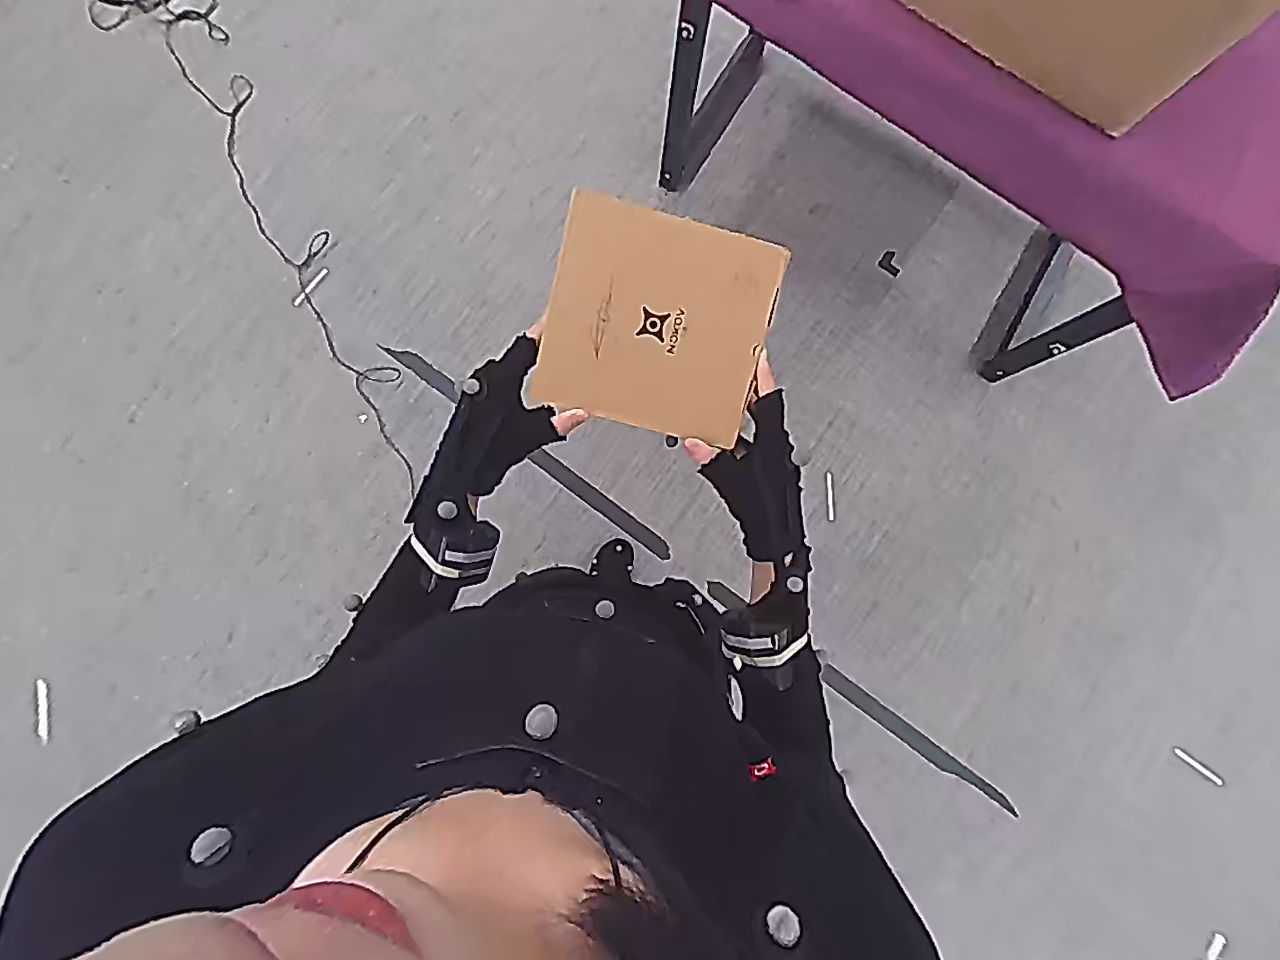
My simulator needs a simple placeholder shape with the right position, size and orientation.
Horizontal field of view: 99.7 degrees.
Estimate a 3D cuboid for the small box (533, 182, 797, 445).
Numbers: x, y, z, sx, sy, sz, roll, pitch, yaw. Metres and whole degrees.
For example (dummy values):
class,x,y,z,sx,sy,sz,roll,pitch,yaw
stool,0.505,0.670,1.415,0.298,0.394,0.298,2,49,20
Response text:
class,x,y,z,sx,sy,sz,roll,pitch,yaw
small box,0.015,-0.139,0.498,0.179,0.176,0.168,13,98,-4
